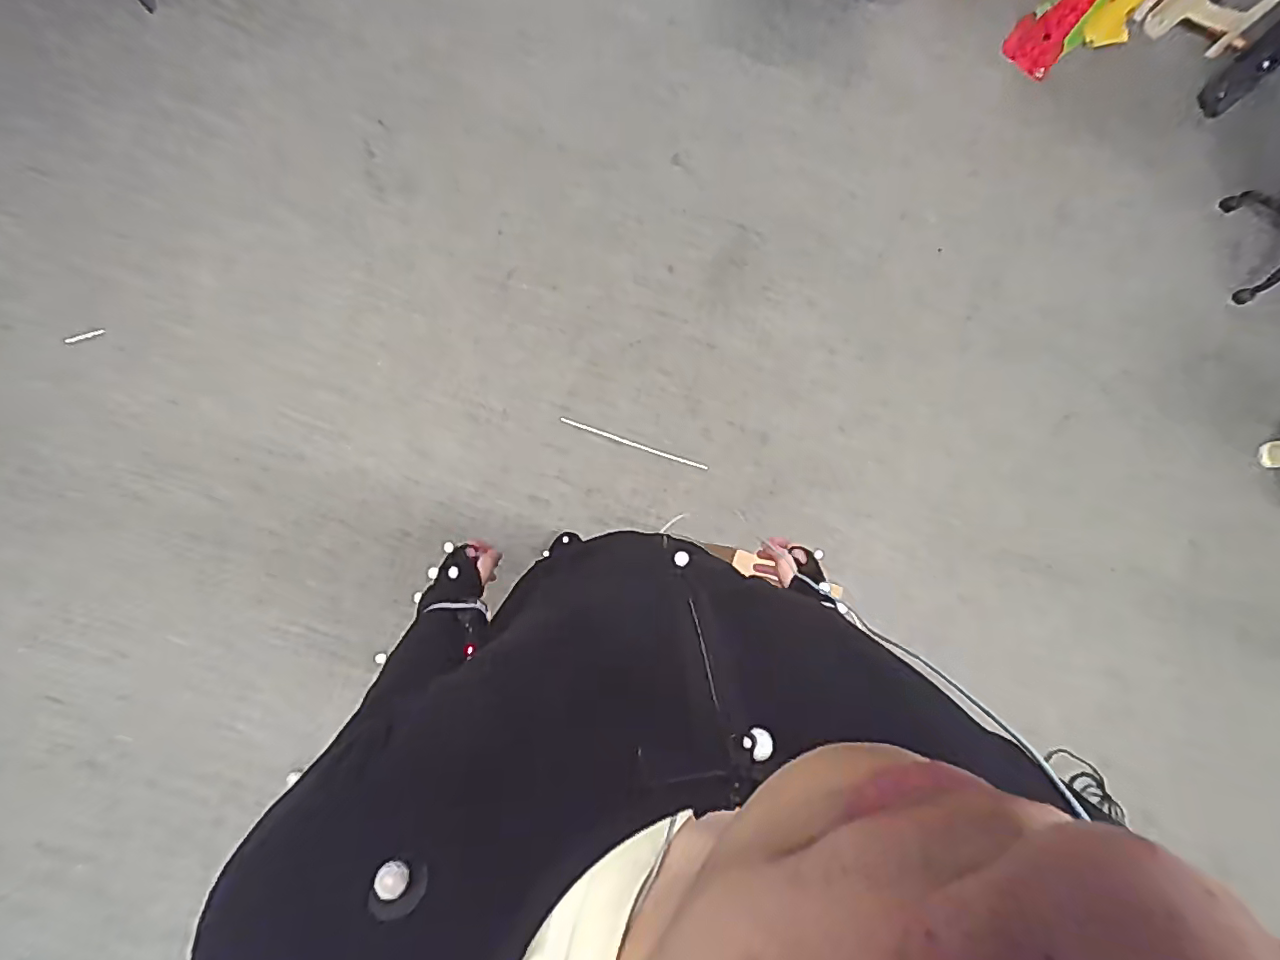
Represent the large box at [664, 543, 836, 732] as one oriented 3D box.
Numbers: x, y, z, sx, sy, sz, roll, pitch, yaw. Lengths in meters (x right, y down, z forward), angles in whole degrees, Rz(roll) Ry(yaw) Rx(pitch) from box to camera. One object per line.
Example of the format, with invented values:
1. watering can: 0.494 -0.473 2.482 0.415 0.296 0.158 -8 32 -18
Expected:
1. large box: 0.295 0.418 1.533 0.320 0.320 0.408 20 84 -6
